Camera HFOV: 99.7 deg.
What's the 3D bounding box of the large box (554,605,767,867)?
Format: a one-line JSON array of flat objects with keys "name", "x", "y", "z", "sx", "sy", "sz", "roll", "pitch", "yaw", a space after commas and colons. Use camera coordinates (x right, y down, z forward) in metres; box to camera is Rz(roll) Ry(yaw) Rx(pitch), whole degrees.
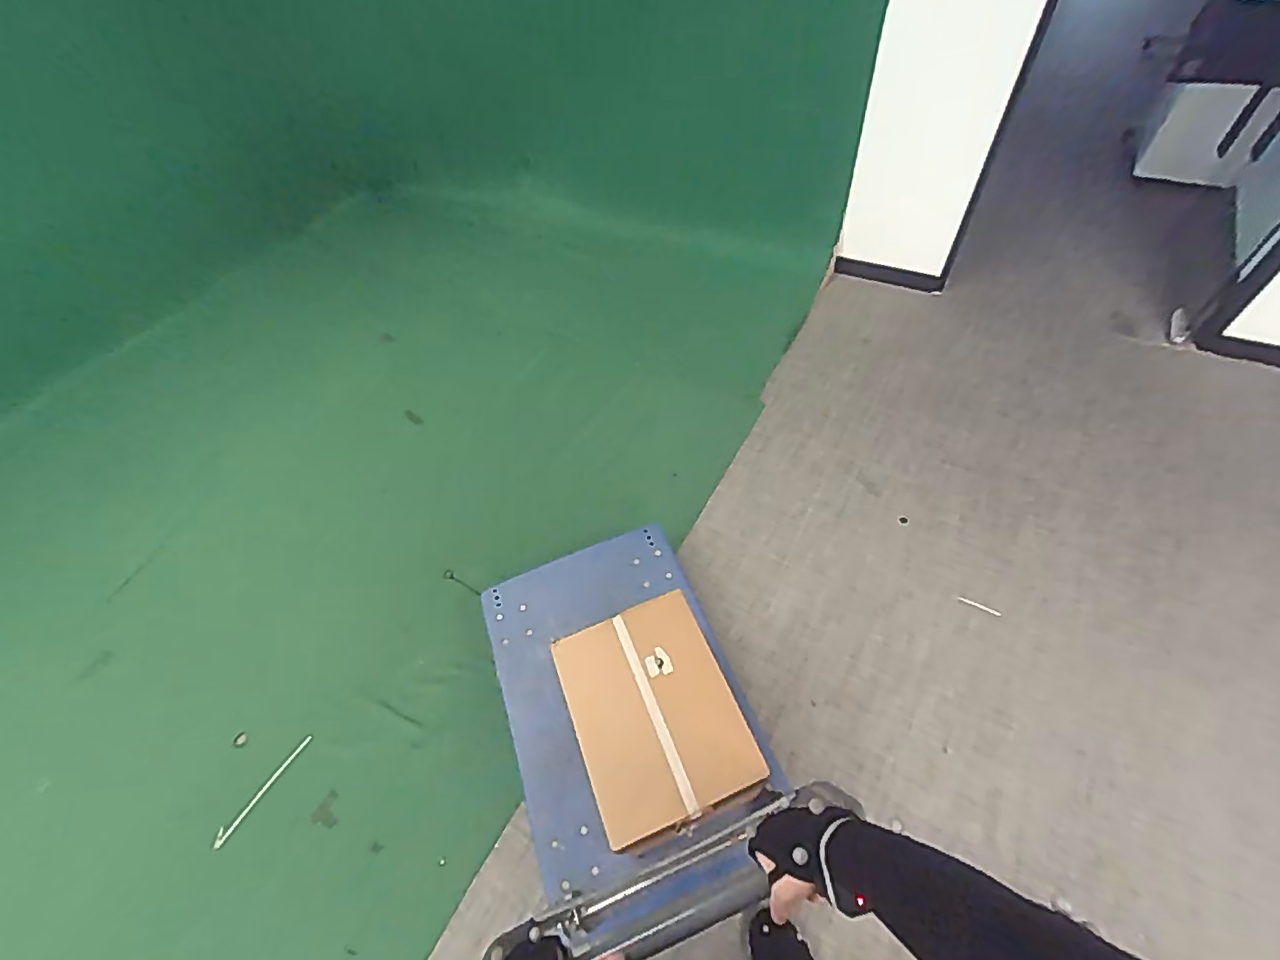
[{"name": "large box", "x": 0.043, "y": 0.565, "z": 1.203, "sx": 0.320, "sy": 0.320, "sz": 0.408, "roll": -21, "pitch": 53, "yaw": -8}]
